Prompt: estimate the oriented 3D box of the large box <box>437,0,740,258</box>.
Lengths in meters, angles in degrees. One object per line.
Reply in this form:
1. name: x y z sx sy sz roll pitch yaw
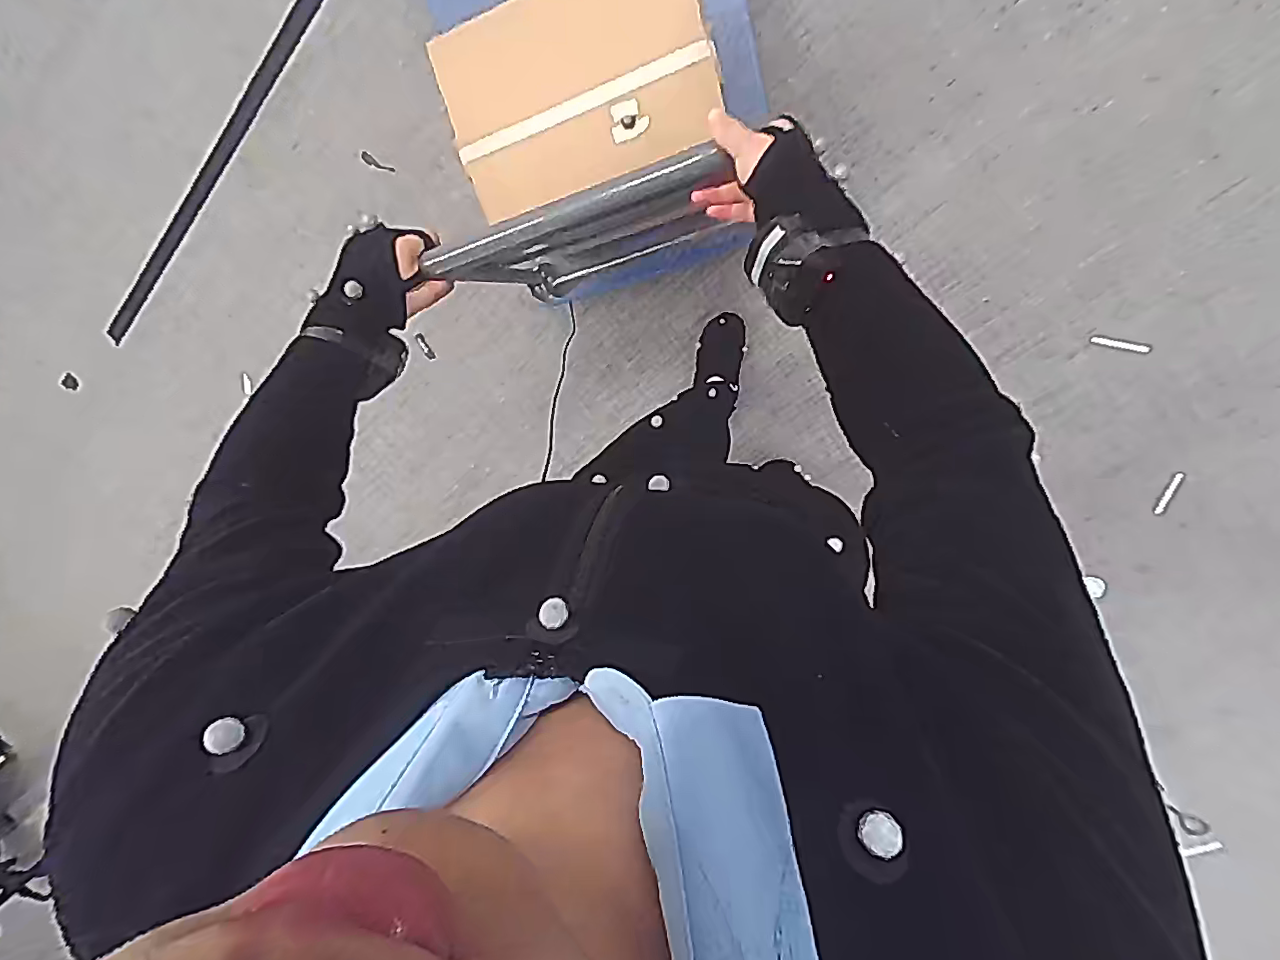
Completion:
1. large box: -0.057 -0.613 0.949 0.408 0.320 0.320 -13 109 16
